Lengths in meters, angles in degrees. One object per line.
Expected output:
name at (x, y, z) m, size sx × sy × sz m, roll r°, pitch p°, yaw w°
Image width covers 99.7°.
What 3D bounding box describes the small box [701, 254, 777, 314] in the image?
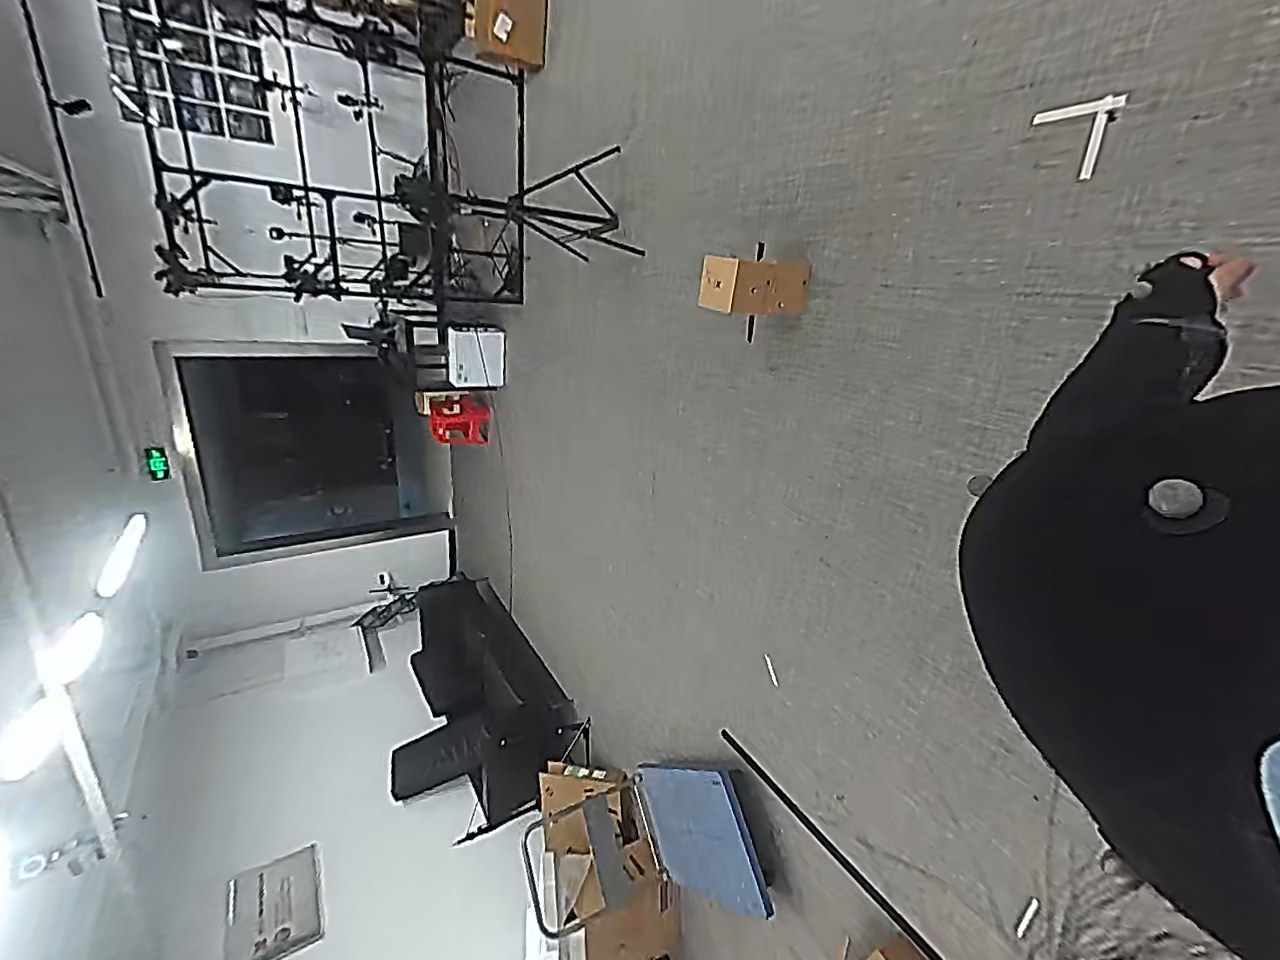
small box at (0.331, -0.655, 1.809) m, size 0.179 × 0.176 × 0.168 m, roll 38°, pitch 128°, yaw 50°
